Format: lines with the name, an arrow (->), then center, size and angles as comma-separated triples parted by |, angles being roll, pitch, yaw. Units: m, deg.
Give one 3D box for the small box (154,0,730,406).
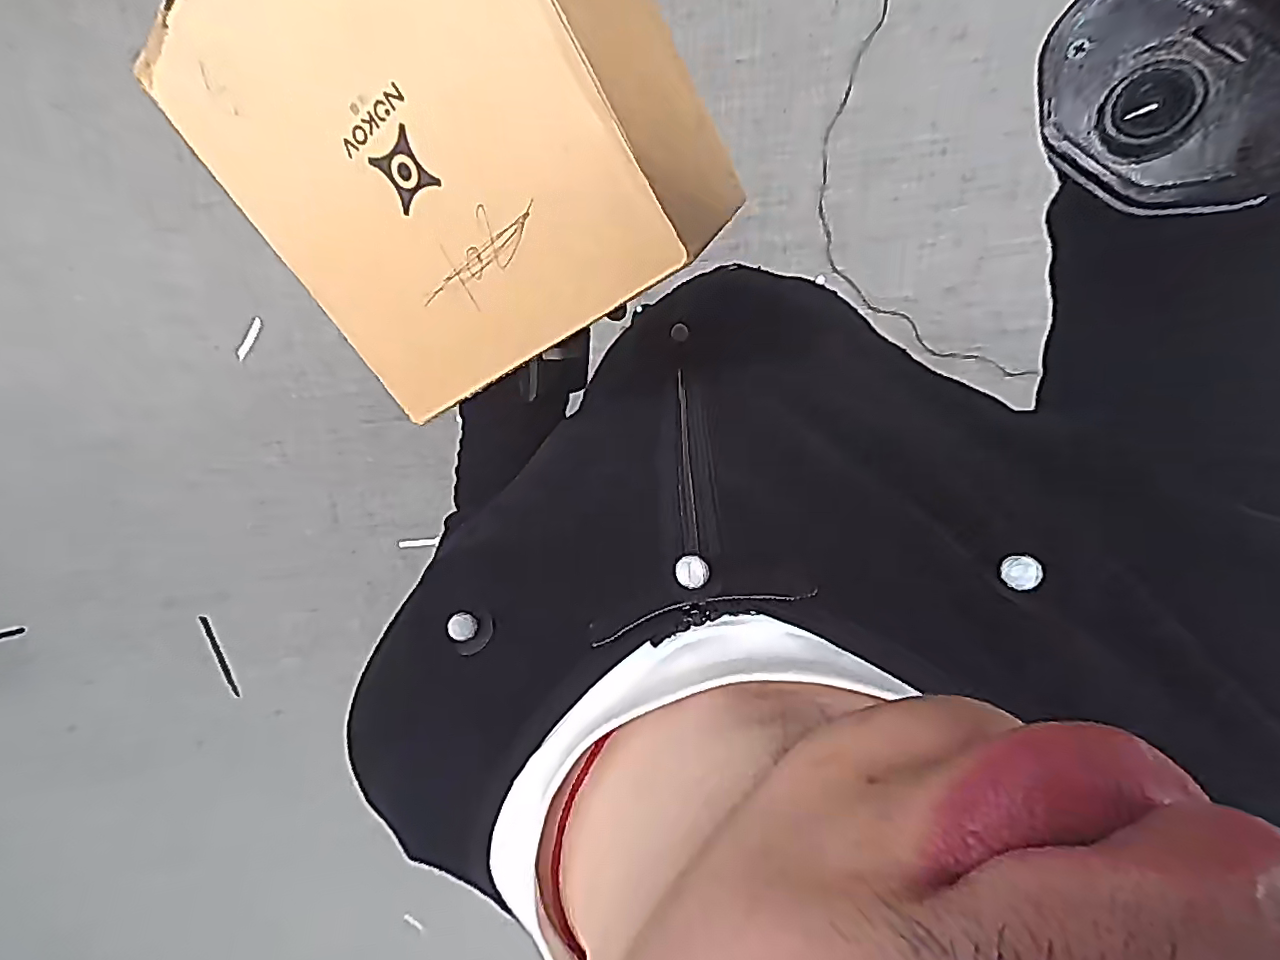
small box -> -0.070, -0.172, 0.278 | 0.168, 0.176, 0.179 | -20, 115, 30
